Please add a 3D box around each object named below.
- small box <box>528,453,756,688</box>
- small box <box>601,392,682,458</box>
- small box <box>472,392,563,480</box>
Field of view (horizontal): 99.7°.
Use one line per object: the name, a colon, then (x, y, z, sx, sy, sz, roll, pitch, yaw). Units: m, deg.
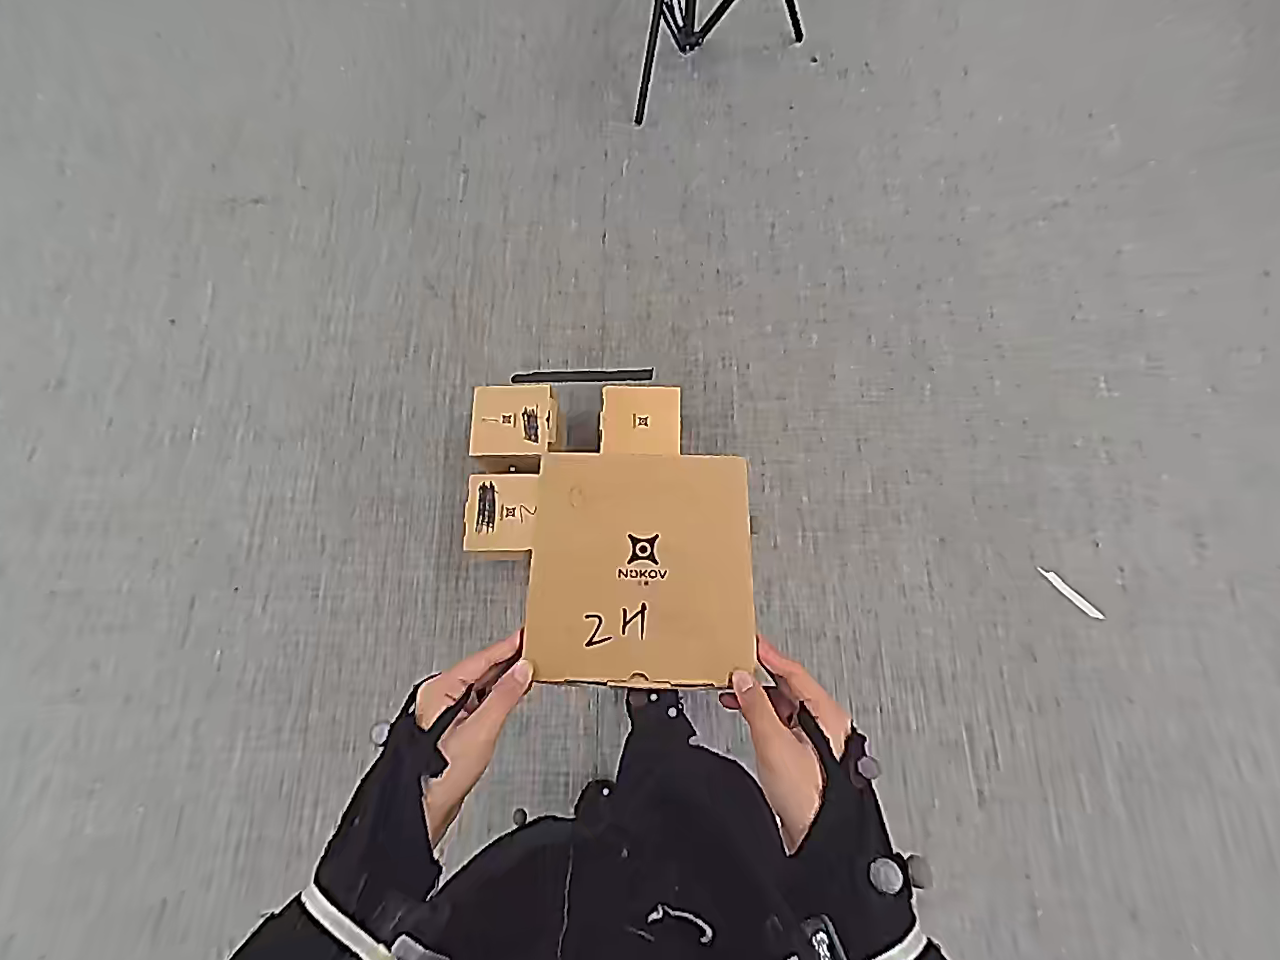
small box: (0.004, 0.090, 0.486, 0.168, 0.176, 0.179, 1, 69, 1)
small box: (0.005, -0.098, 1.270, 0.179, 0.176, 0.168, 1, 75, 2)
small box: (-0.279, -0.099, 1.275, 0.179, 0.176, 0.168, 0, 75, 2)
